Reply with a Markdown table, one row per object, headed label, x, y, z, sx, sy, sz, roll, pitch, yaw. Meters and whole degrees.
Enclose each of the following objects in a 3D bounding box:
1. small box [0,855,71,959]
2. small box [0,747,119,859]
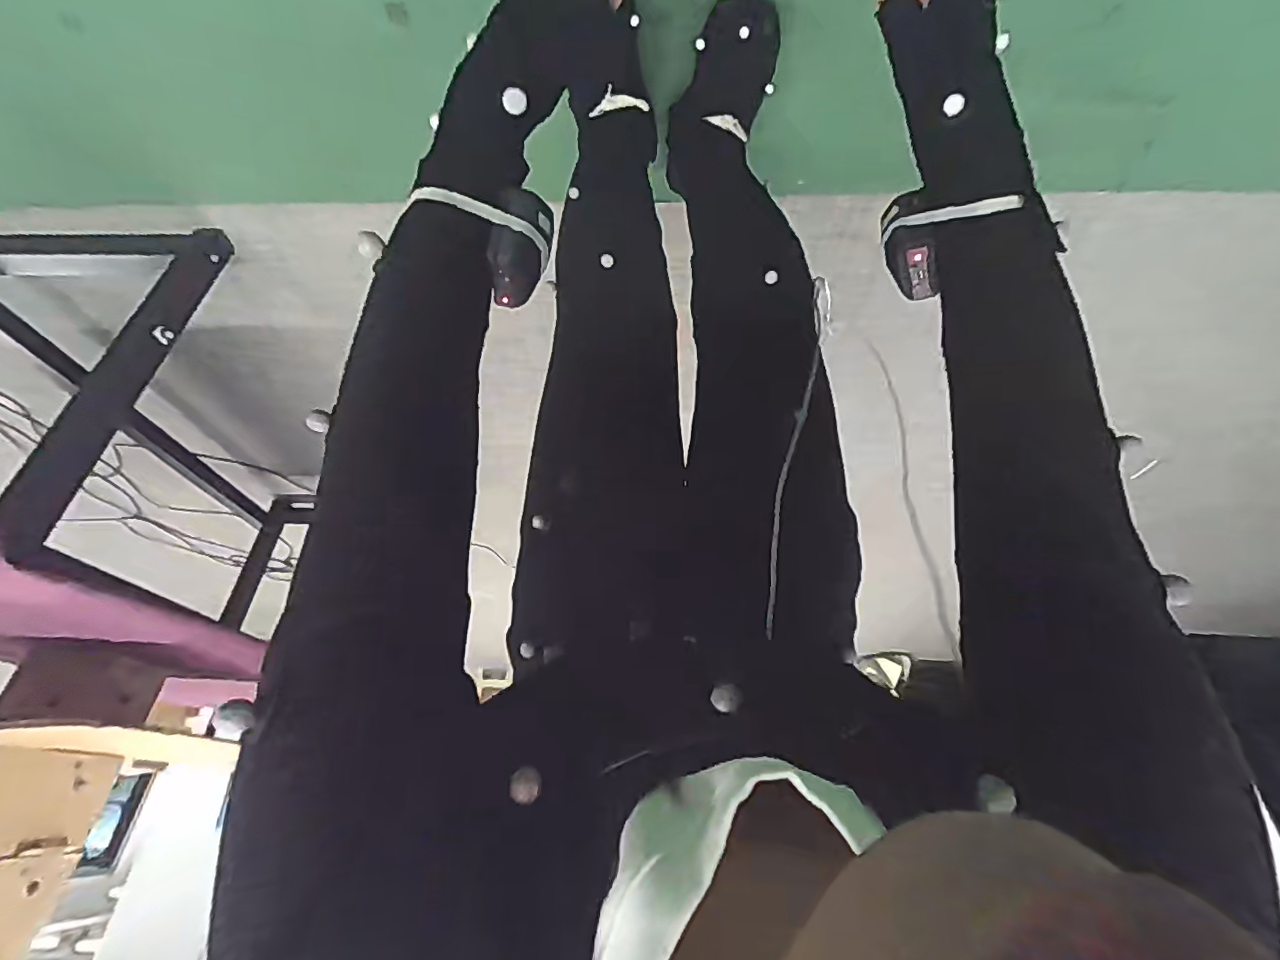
| label | x | y | z | sx | sy | sz | roll | pitch | yaw |
| --- | --- | --- | --- | --- | --- | --- | --- | --- | --- |
| small box | -1.177 | 0.743 | 0.937 | 0.179 | 0.176 | 0.168 | 3 | 148 | 2 |
| small box | -1.167 | 0.604 | 1.021 | 0.179 | 0.176 | 0.168 | 3 | 149 | 2 |
